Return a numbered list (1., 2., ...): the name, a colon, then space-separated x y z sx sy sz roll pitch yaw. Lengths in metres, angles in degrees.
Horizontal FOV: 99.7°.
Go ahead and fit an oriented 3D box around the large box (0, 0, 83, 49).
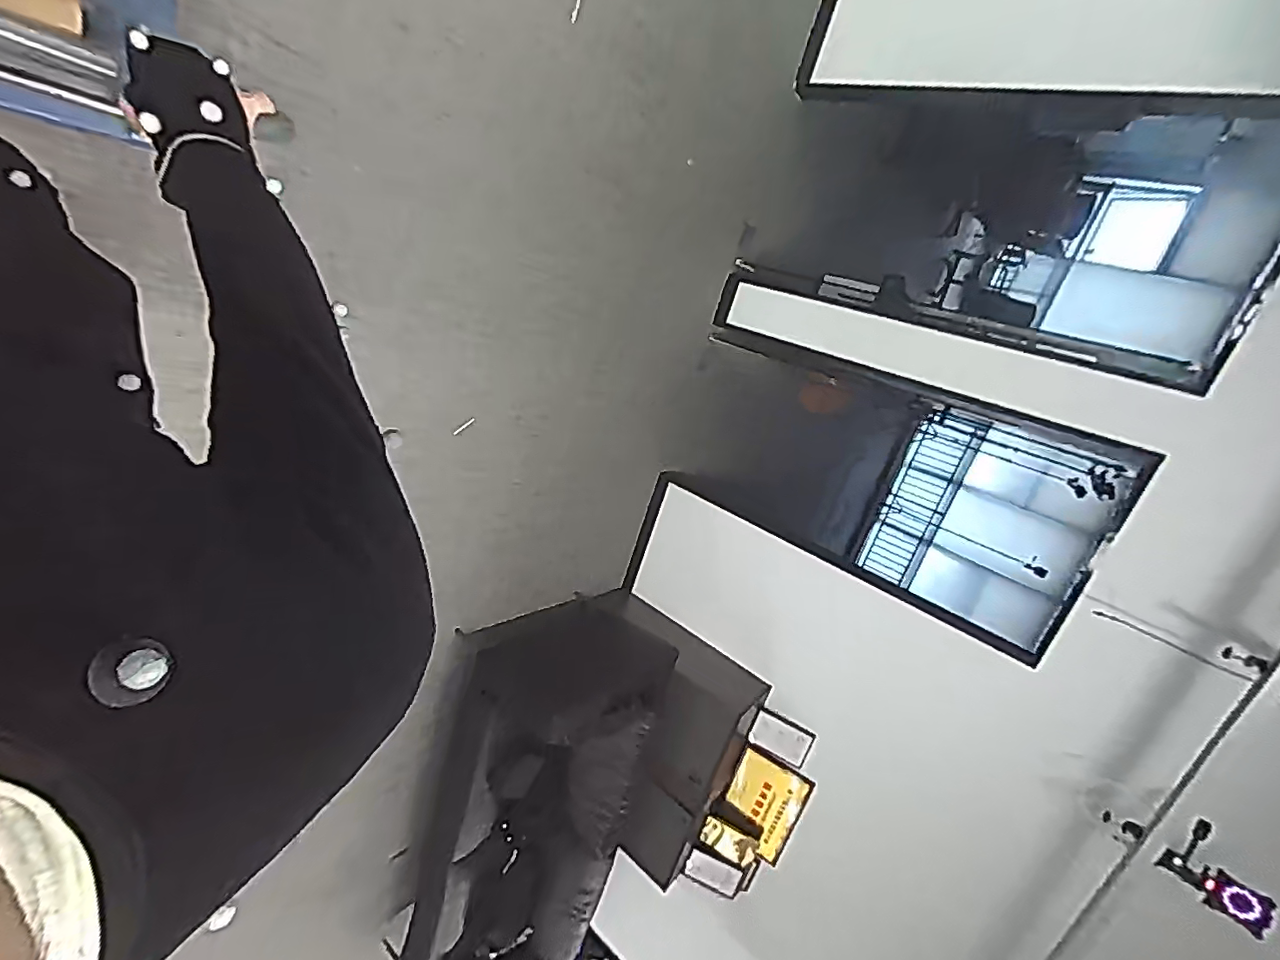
1. large box: -0.891 -0.799 0.612 0.320 0.320 0.408 -9 120 -52
